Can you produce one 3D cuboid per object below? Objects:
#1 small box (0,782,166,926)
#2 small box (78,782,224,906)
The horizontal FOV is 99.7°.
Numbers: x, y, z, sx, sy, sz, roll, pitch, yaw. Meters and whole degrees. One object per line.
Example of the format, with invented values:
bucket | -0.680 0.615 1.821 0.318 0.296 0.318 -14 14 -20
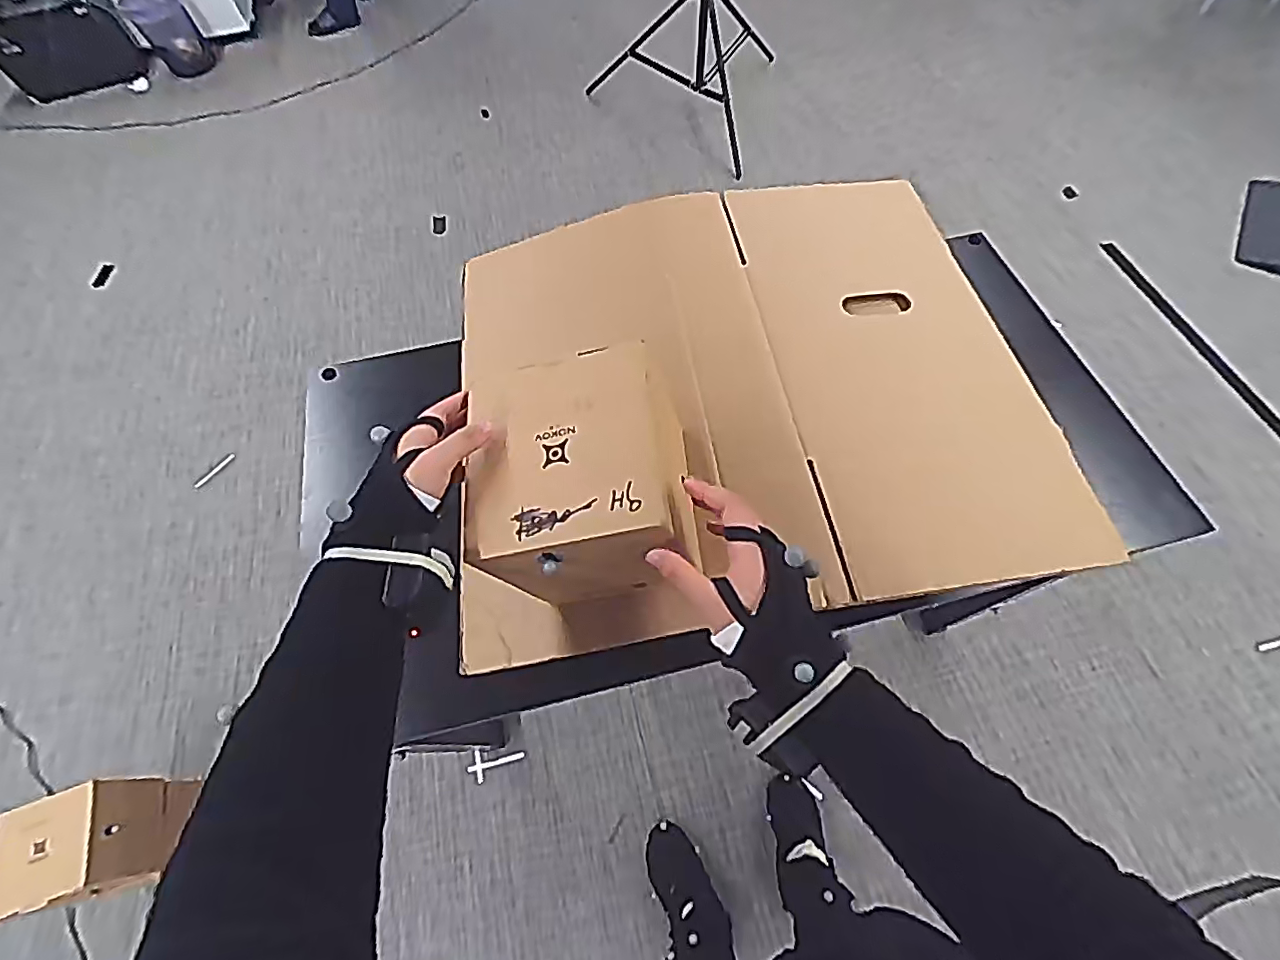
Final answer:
small box | -1.050 0.695 1.026 0.168 0.176 0.179 -19 63 -8
small box | -1.041 0.773 1.168 0.168 0.176 0.179 -17 64 -6
